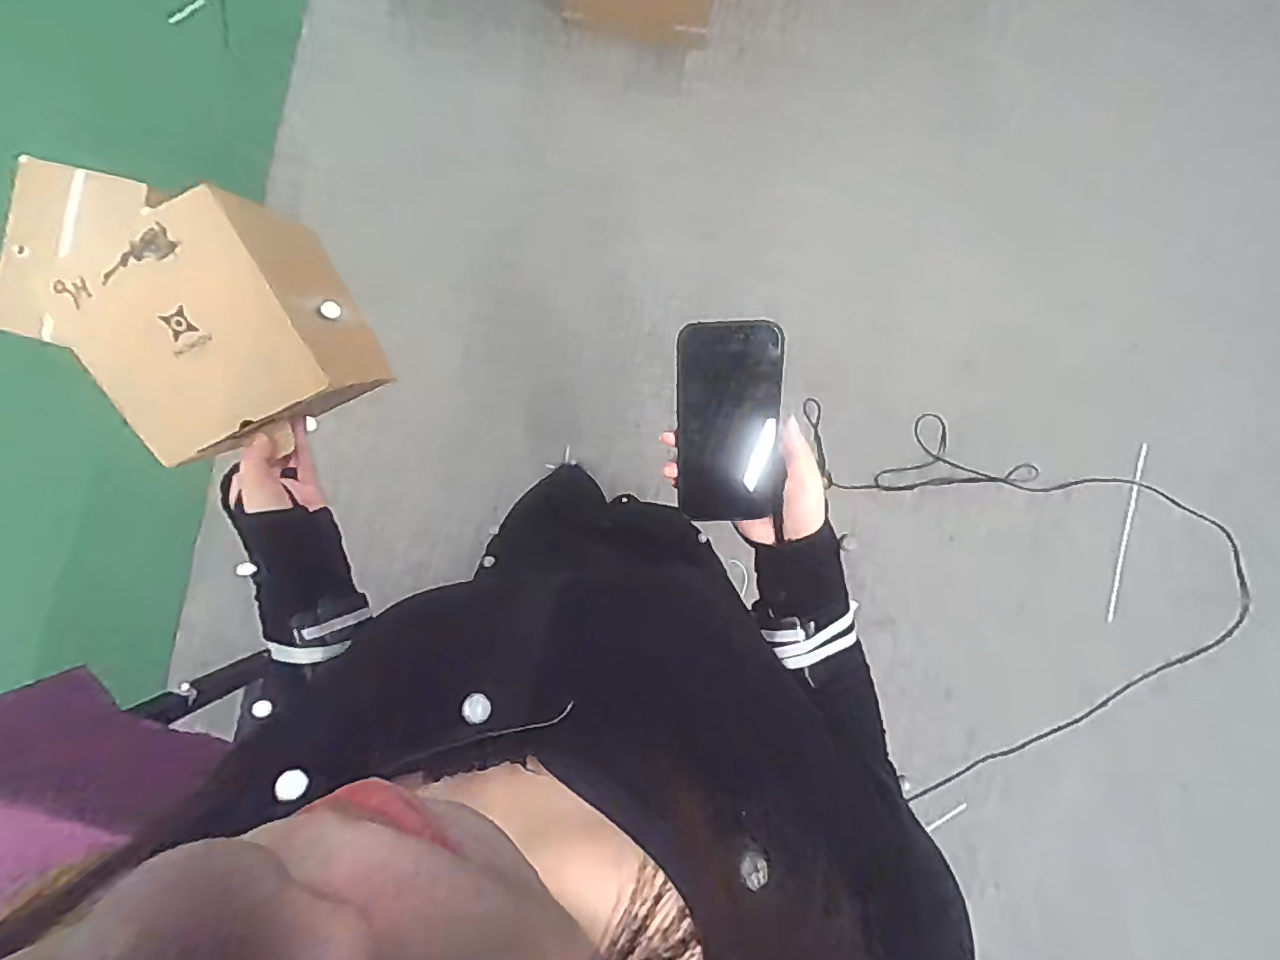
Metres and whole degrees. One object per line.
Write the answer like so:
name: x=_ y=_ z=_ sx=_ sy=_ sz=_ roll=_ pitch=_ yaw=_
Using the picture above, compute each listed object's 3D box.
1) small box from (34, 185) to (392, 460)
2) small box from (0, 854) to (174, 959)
small box: x=-0.374 y=-0.144 z=0.521 sx=0.168 sy=0.176 sz=0.179 roll=-25 pitch=105 yaw=1
small box: x=-0.786 y=0.661 z=0.725 sx=0.168 sy=0.176 sz=0.179 roll=17 pitch=91 yaw=2
